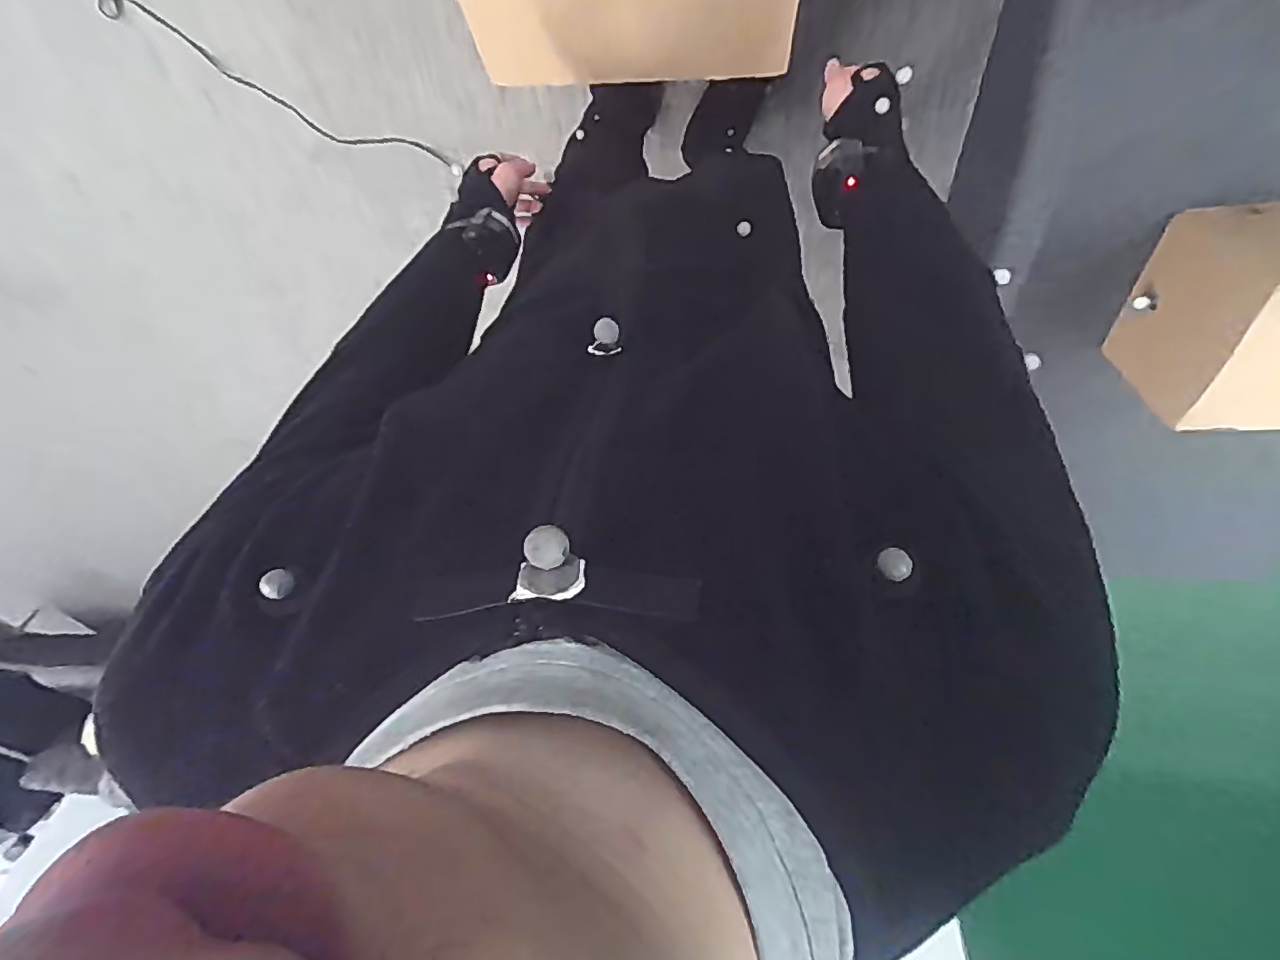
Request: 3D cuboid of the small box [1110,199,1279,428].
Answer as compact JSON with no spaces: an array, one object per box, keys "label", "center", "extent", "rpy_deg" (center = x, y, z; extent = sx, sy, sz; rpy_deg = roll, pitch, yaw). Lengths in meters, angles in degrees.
[{"label":"small box","center":[0.654,-0.174,0.573],"extent":[0.168,0.176,0.179],"rpy_deg":[0,136,10]}]
